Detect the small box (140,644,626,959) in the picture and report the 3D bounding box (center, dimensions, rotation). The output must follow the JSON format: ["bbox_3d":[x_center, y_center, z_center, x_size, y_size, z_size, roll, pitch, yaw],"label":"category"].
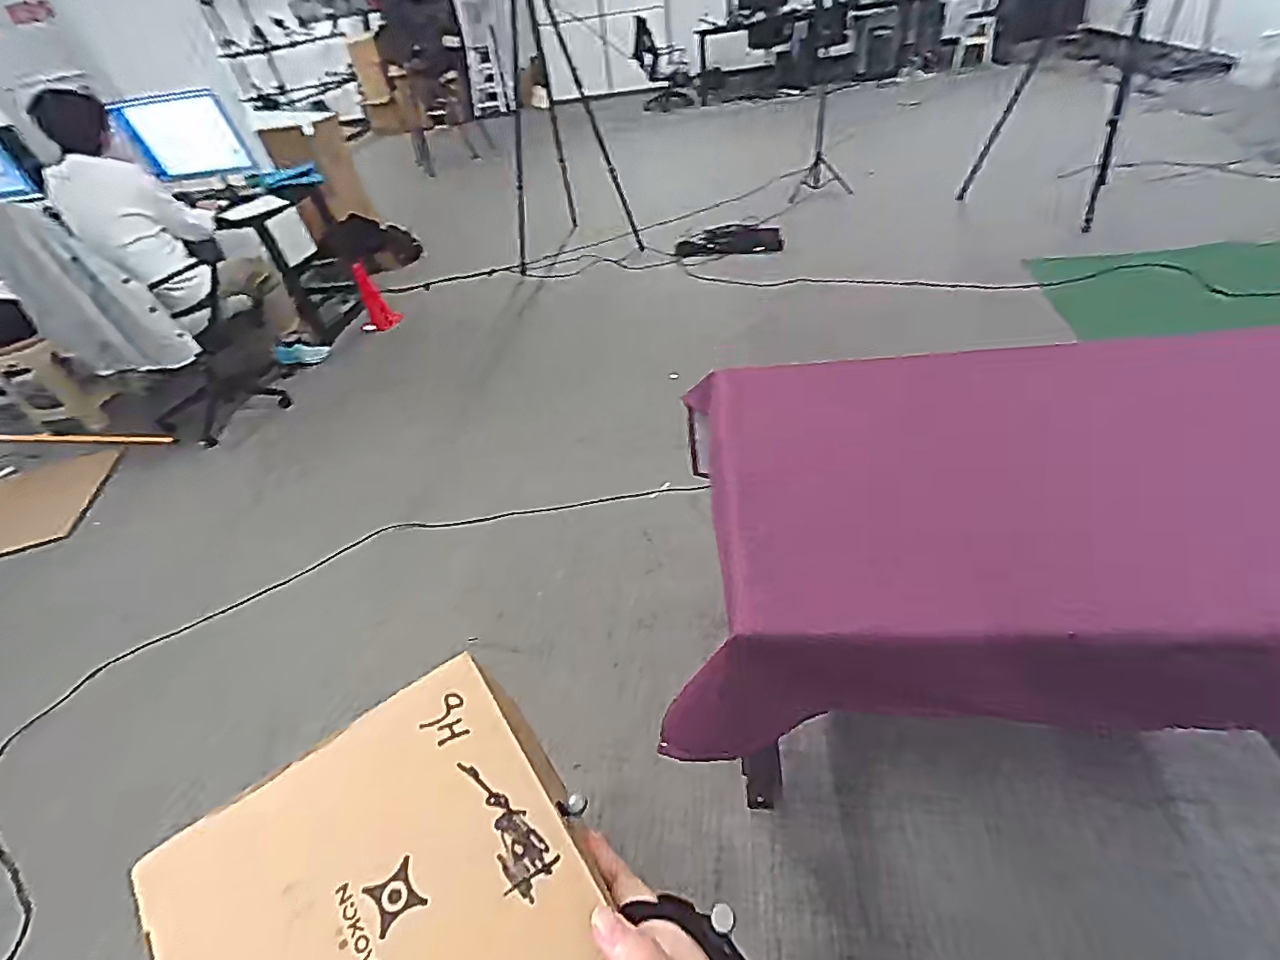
[{"bbox_3d":[-0.120,0.230,0.315,0.179,0.176,0.168,-31,66,-18],"label":"small box"}]
